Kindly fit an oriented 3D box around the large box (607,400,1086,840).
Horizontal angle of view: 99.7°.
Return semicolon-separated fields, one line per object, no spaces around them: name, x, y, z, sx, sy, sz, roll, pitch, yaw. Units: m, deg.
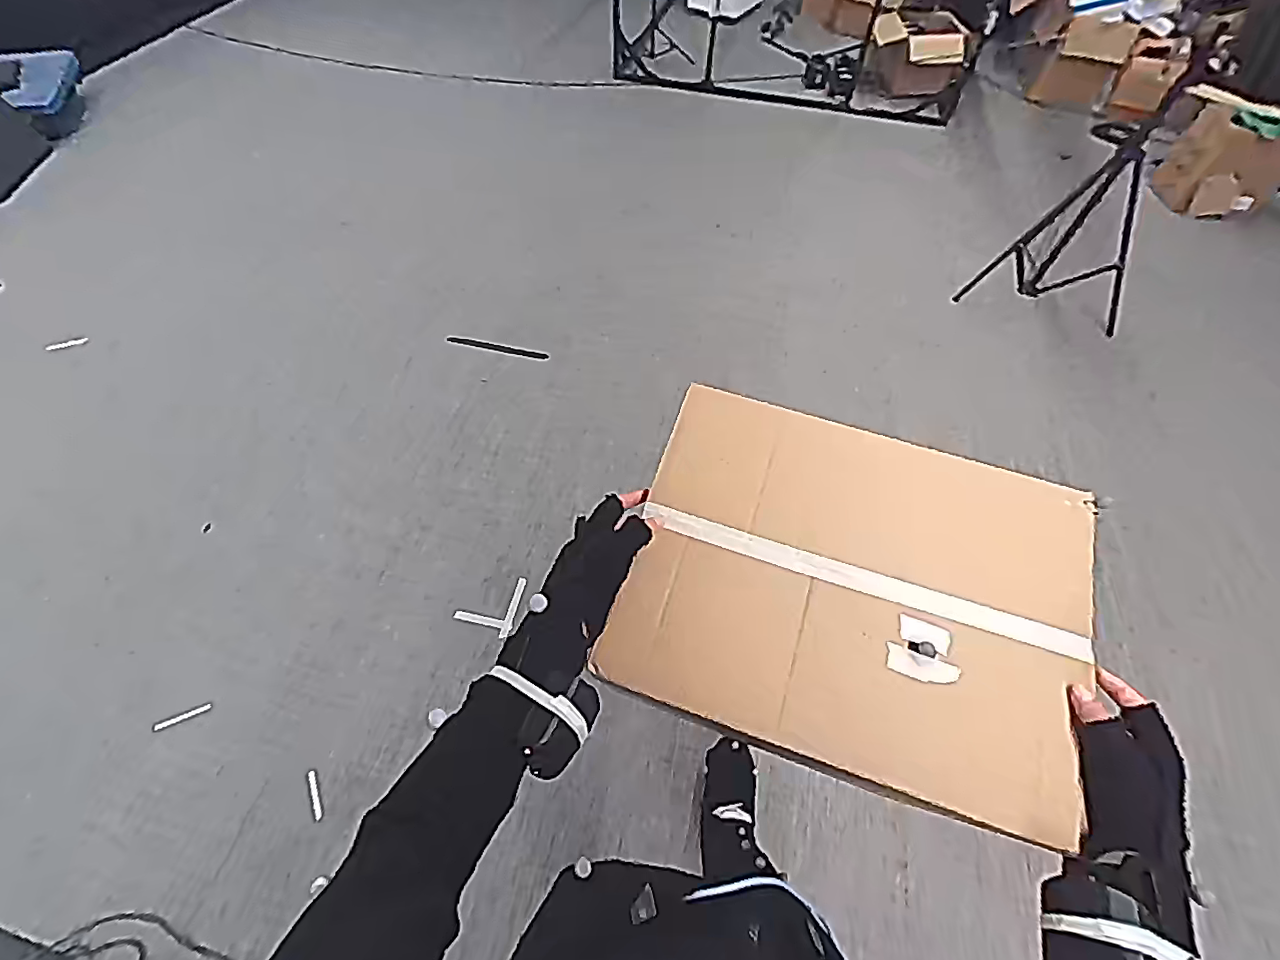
large box;0.204;0.157;0.642;0.408;0.320;0.320;17;68;9
